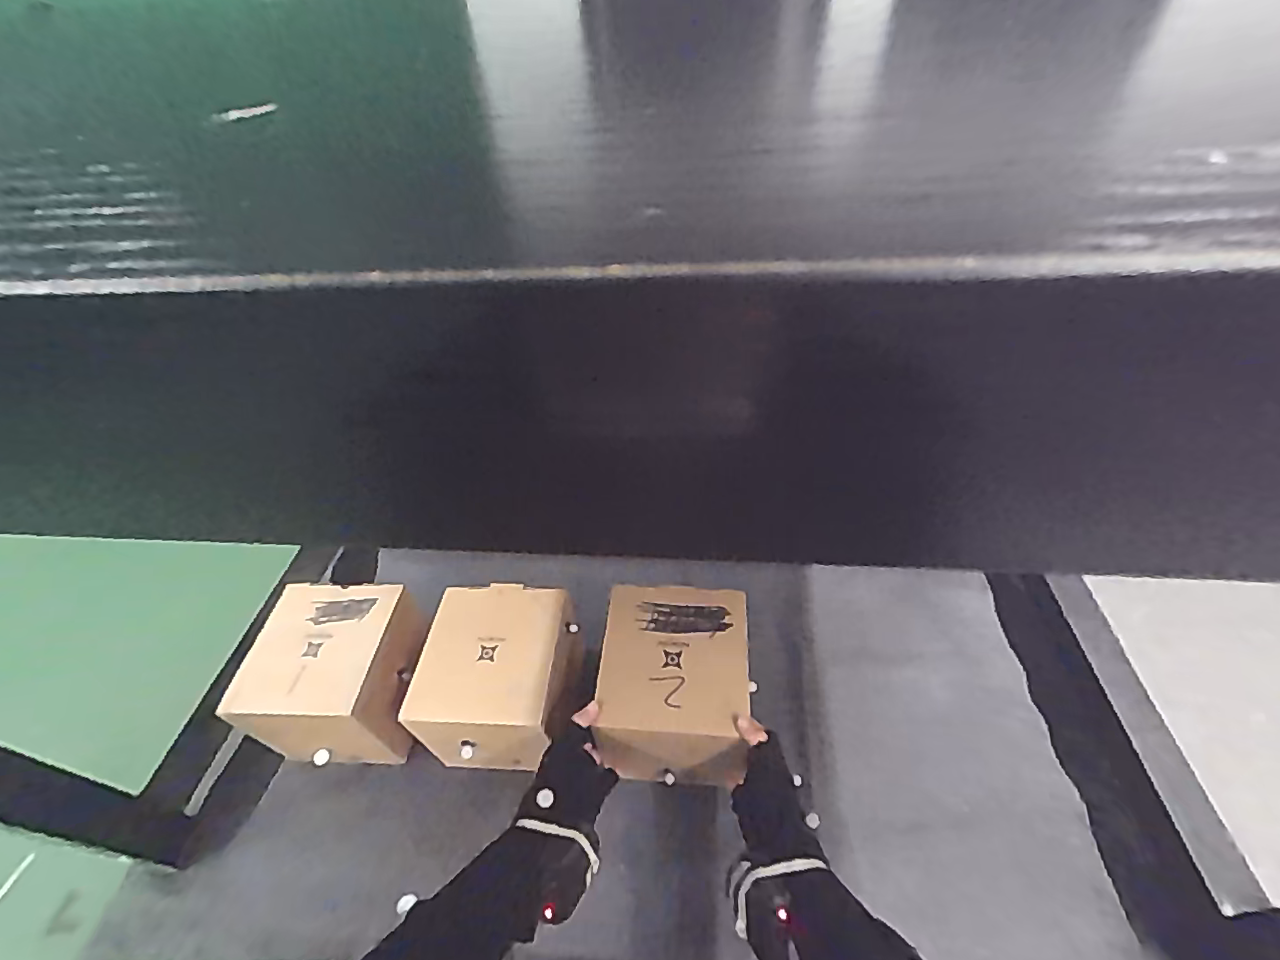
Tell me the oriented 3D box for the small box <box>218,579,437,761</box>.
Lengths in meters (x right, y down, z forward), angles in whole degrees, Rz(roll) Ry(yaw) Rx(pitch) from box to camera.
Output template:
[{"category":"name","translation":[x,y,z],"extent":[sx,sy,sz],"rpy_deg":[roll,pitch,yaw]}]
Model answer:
[{"category":"small box","translation":[-0.395,0.254,0.727],"extent":[0.168,0.176,0.179],"rpy_deg":[-1,46,6]}]
